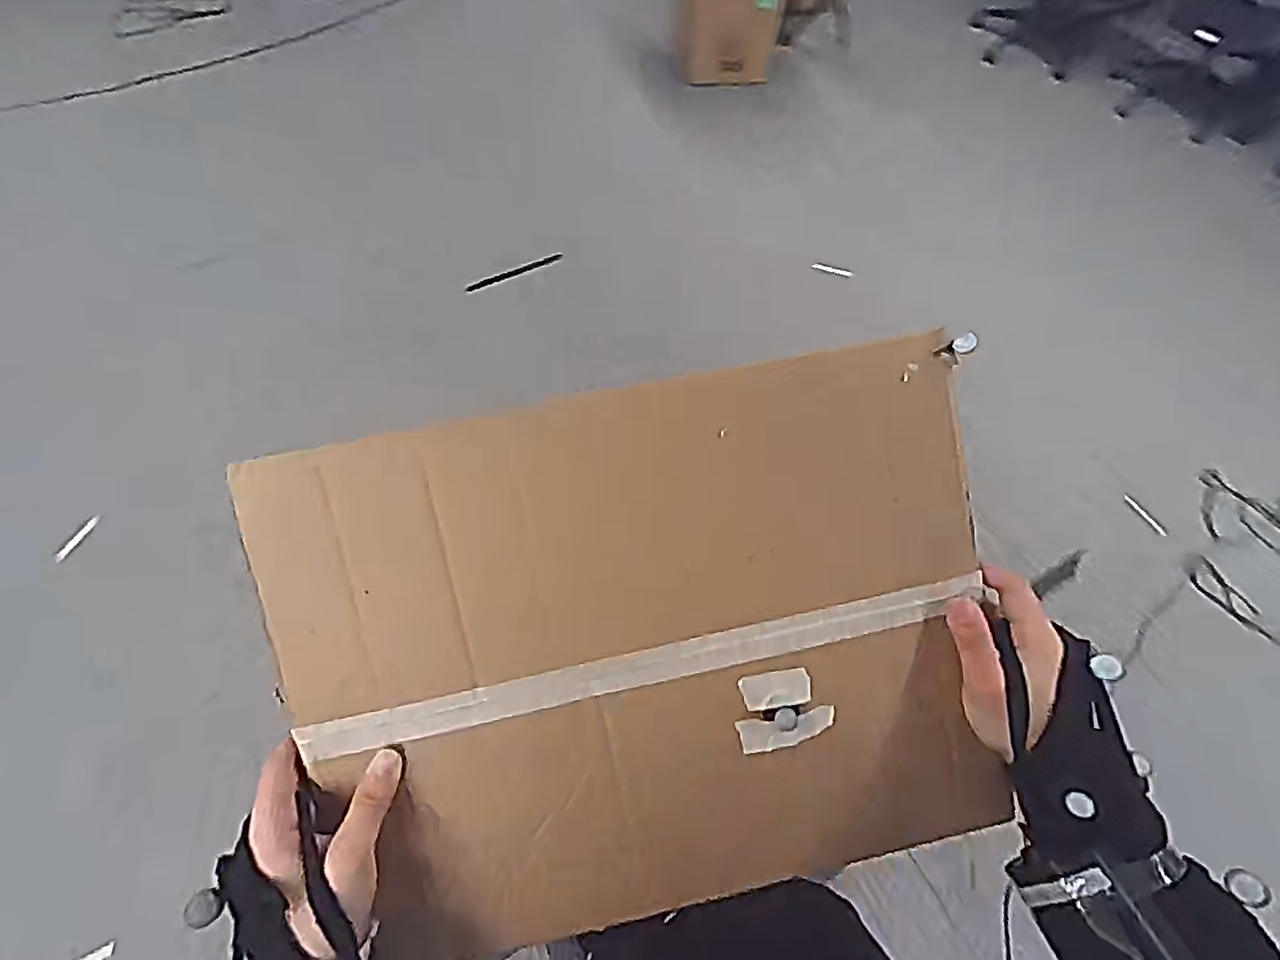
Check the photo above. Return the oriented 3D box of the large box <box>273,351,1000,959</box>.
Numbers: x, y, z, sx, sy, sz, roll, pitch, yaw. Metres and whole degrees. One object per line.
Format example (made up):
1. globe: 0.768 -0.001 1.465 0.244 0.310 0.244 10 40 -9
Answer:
1. large box: 0.002 0.098 0.474 0.408 0.320 0.320 -11 97 -5
